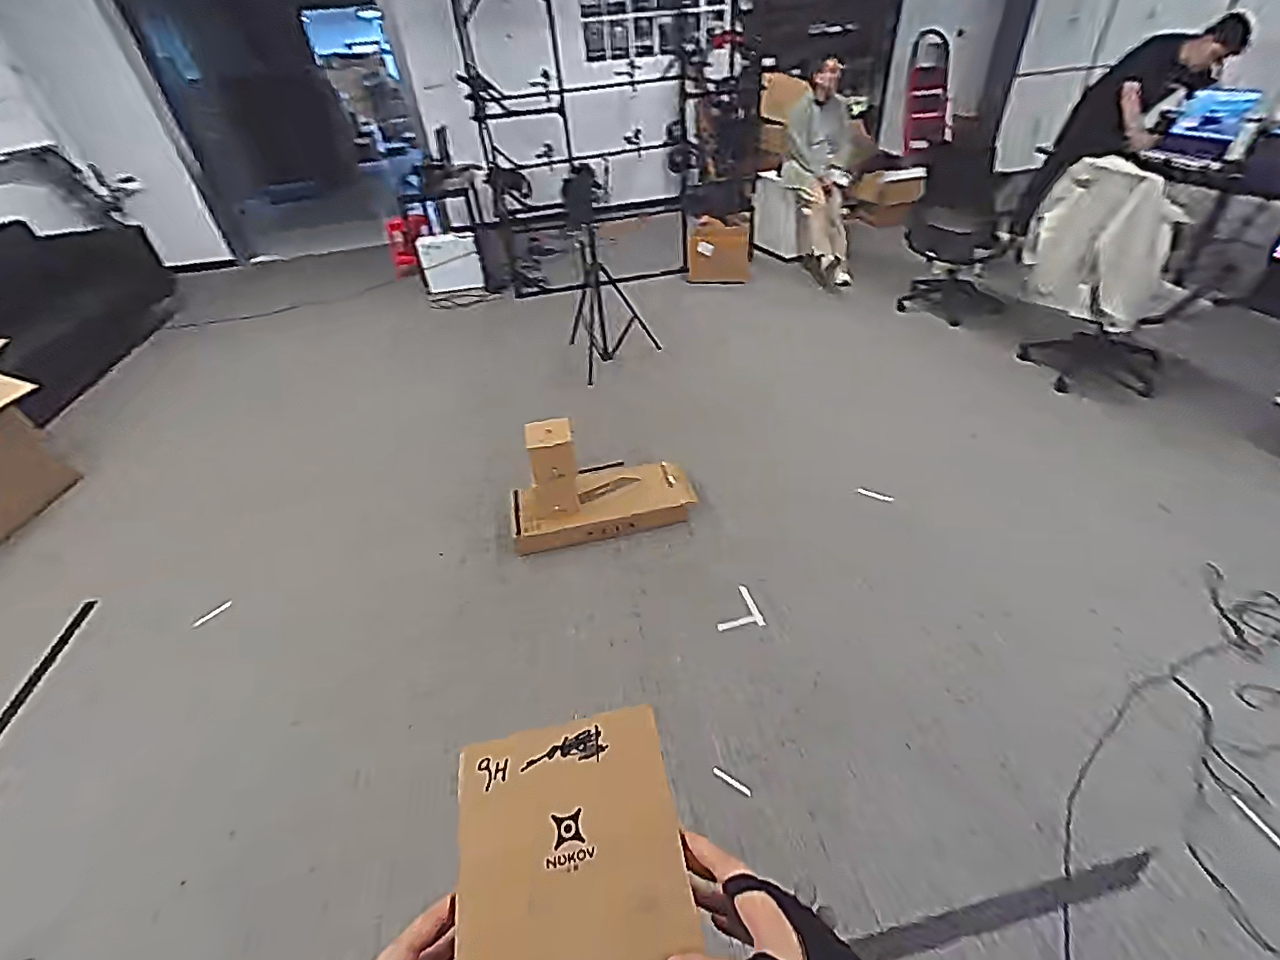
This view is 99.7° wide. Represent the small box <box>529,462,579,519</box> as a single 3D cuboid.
[{"bbox_3d":[-0.342,0.027,2.152,0.168,0.176,0.179,-12,40,-8],"label":"small box"}]

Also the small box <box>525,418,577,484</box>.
[{"bbox_3d":[-0.338,-0.110,2.058,0.168,0.176,0.179,-11,39,-7],"label":"small box"}]
